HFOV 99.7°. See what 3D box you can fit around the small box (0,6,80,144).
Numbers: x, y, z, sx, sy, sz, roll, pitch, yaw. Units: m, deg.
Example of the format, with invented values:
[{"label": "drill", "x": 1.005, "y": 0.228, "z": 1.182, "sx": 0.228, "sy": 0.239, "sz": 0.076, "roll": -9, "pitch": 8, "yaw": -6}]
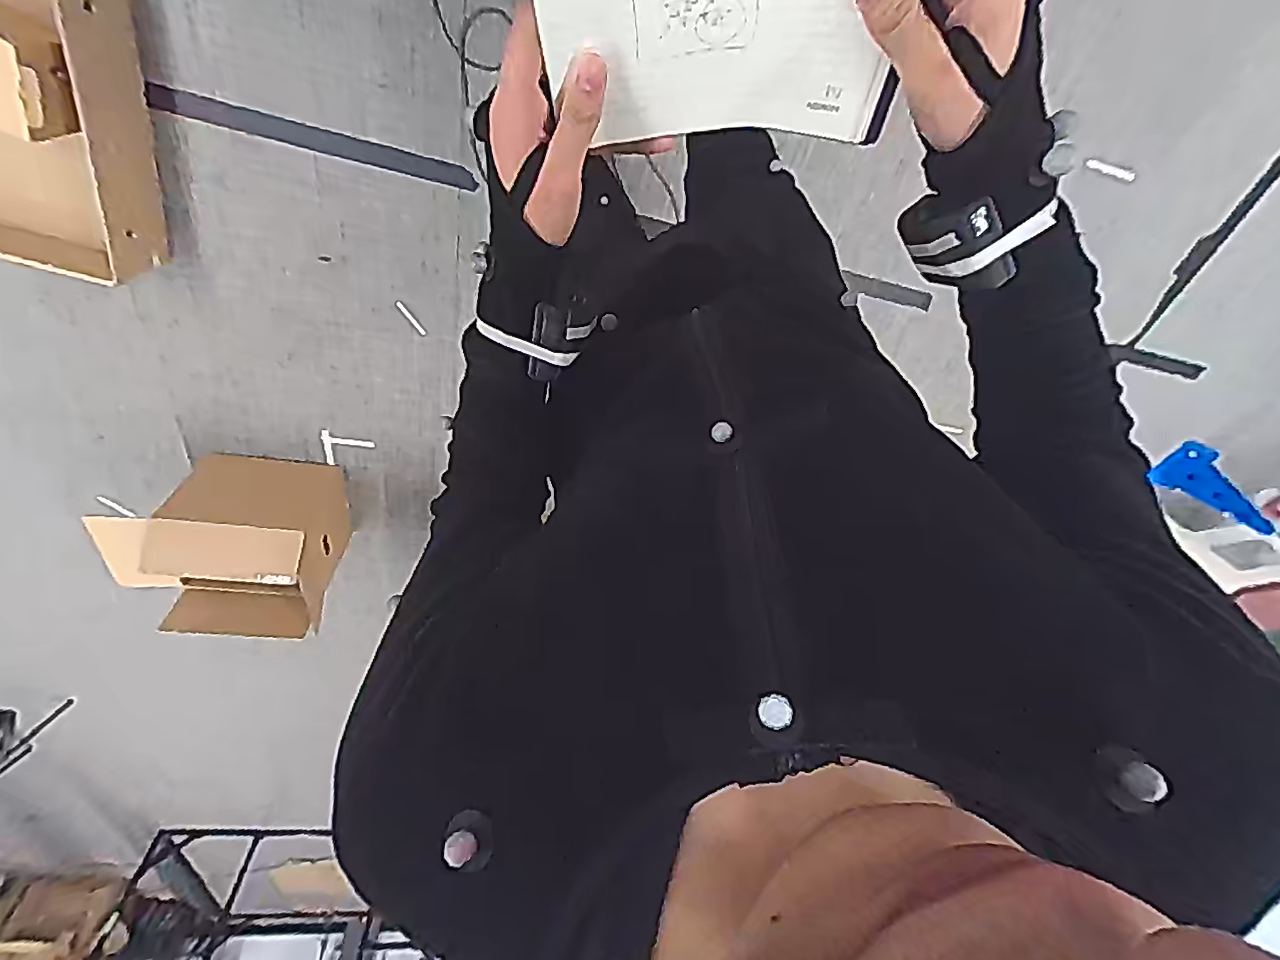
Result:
[{"label": "small box", "x": -1.192, "y": -0.763, "z": 0.997, "sx": 0.179, "sy": 0.176, "sz": 0.168, "roll": 20, "pitch": 125, "yaw": -21}]
